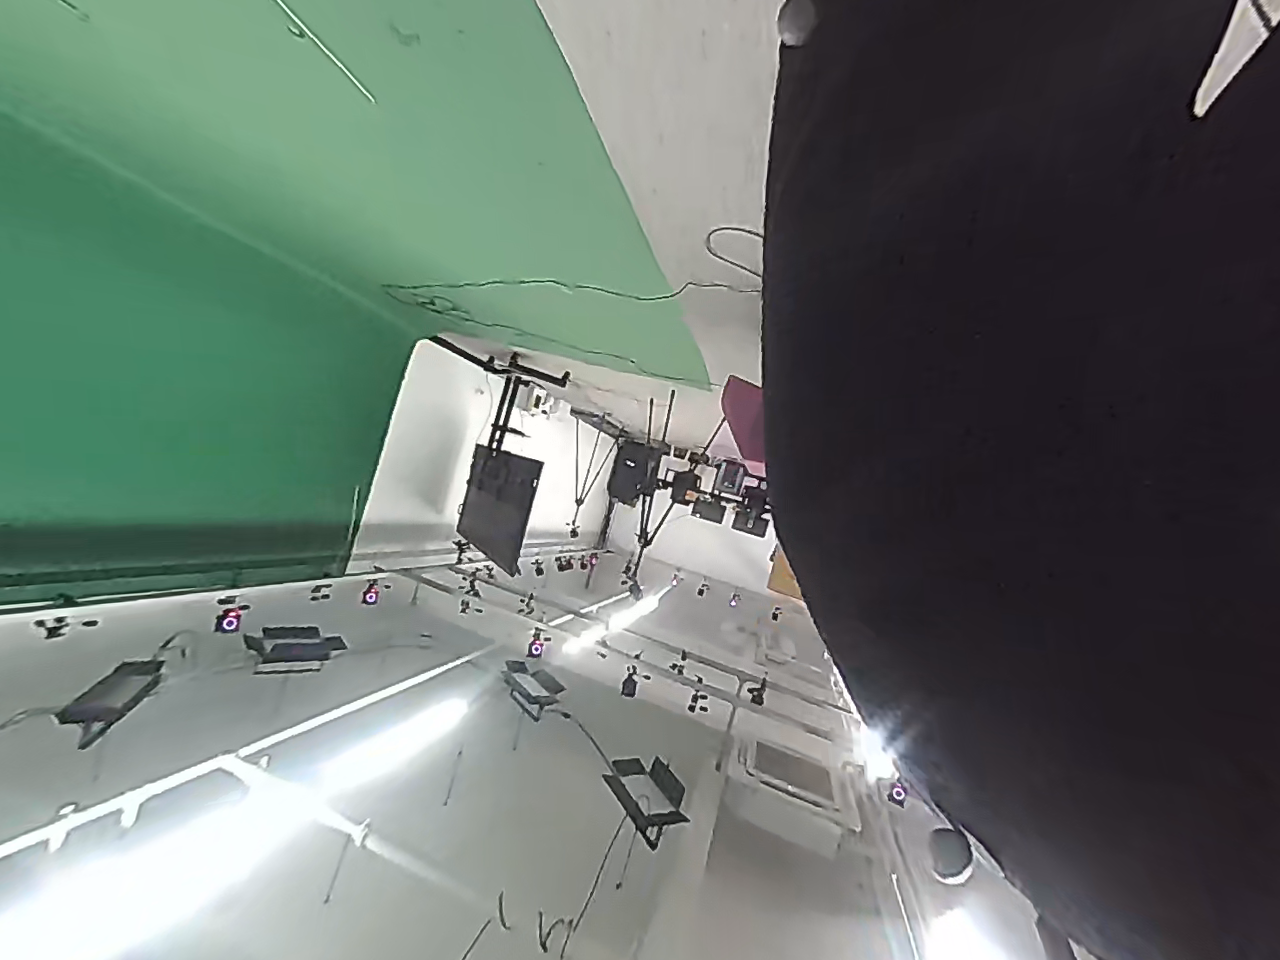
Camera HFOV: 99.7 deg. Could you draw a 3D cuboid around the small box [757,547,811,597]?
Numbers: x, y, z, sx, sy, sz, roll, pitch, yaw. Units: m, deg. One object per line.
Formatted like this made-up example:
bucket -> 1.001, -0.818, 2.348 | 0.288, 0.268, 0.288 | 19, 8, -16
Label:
small box -> 0.620, 0.385, 2.314 | 0.179, 0.176, 0.168 | 15, 180, 23
